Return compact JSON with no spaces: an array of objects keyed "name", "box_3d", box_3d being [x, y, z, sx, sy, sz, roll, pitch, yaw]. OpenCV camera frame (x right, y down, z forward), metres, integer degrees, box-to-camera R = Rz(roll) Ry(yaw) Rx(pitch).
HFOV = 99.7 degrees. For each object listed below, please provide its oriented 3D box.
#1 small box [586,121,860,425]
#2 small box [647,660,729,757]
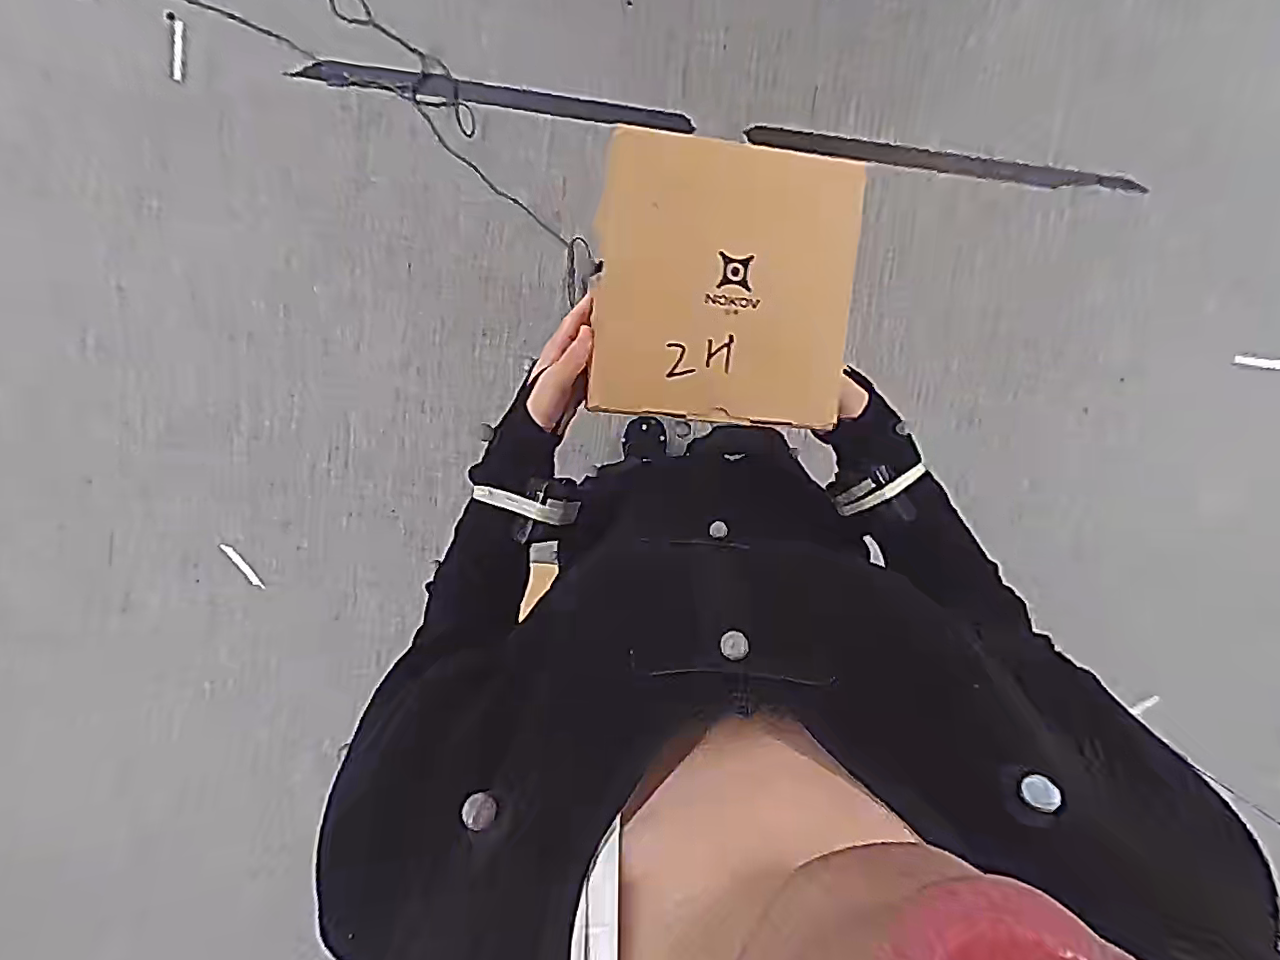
[{"name":"small box","box_3d":[0.046,-0.138,0.428,0.168,0.176,0.179,4,97,-7]},{"name":"small box","box_3d":[0.124,0.614,1.472,0.179,0.176,0.168,14,96,-4]}]
